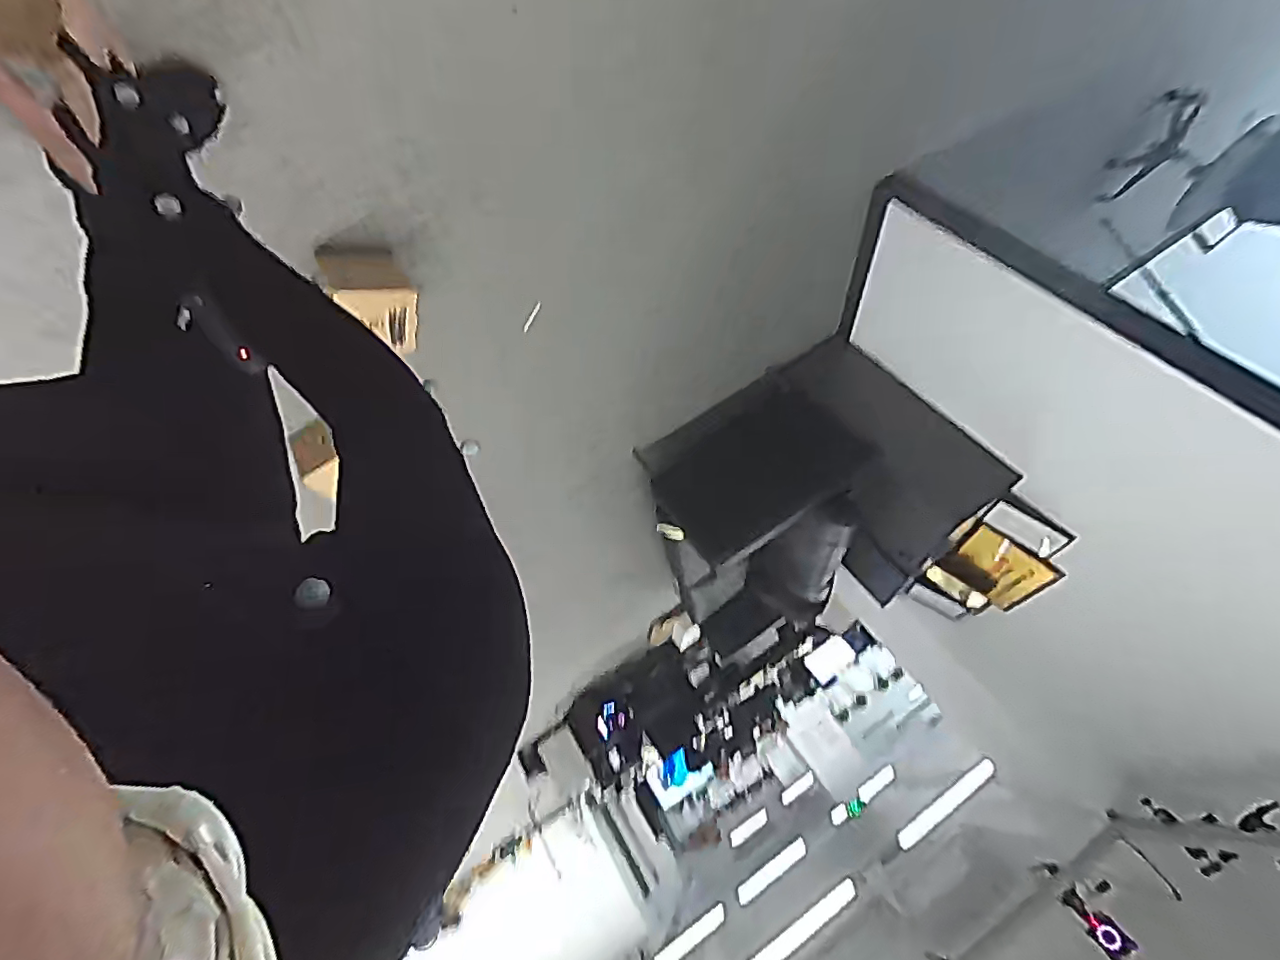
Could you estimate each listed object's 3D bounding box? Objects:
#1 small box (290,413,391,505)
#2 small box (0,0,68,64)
[{"bbox_3d":[-0.852,-0.067,1.537,0.168,0.176,0.179,-34,152,-7],"label":"small box"},{"bbox_3d":[-0.495,-0.402,0.324,0.168,0.176,0.179,-16,147,-38],"label":"small box"}]
